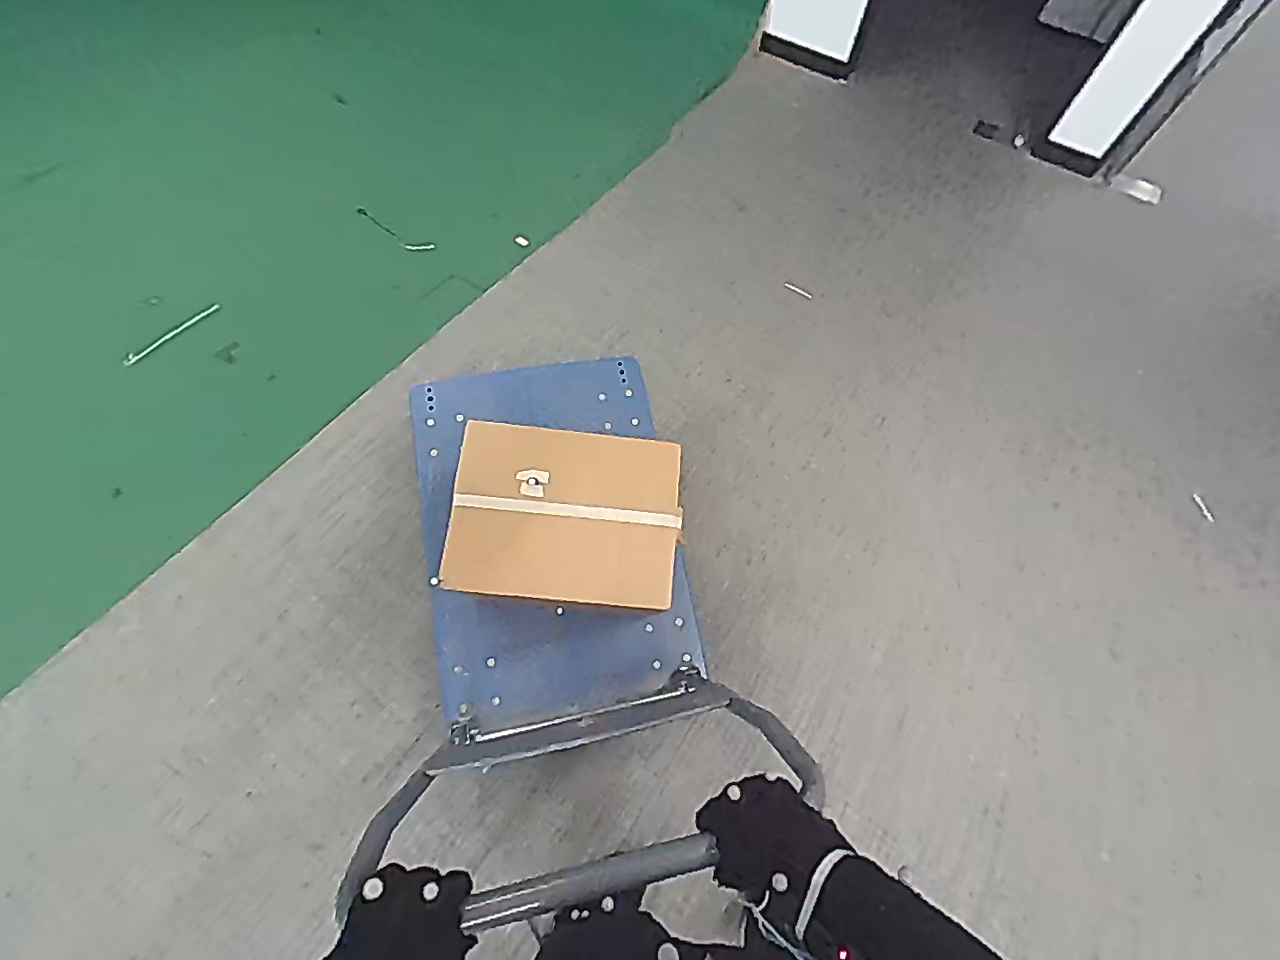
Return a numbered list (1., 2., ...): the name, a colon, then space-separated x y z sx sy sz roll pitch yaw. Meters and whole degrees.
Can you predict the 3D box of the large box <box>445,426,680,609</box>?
1. large box: -0.138 0.098 1.117 0.408 0.320 0.320 5 74 -3
